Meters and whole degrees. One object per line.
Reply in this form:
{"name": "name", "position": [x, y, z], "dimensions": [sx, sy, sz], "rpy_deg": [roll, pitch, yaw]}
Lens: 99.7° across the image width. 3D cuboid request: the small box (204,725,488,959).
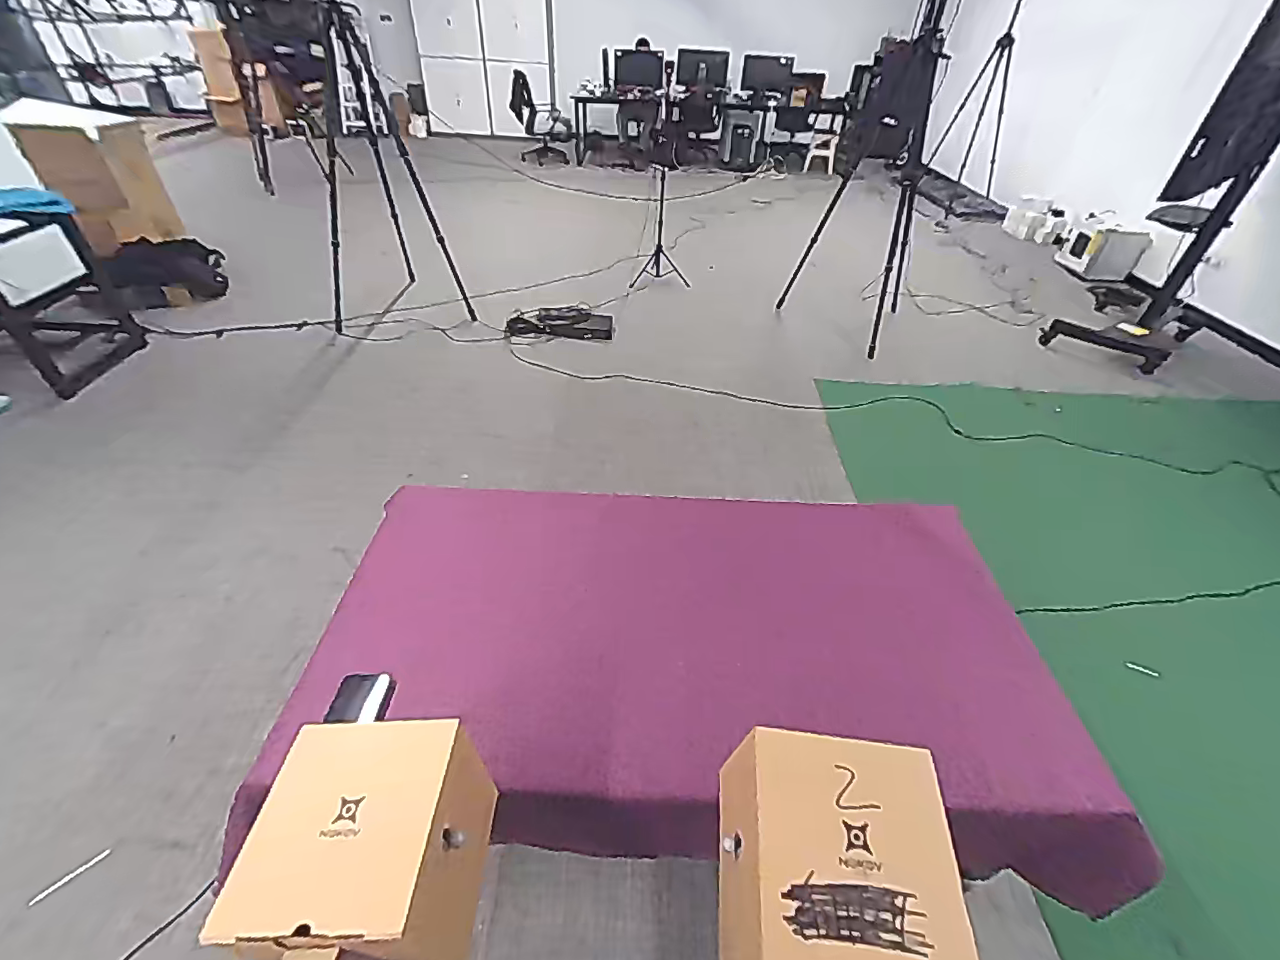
{"name": "small box", "position": [-0.261, 0.370, 0.538], "dimensions": [0.168, 0.176, 0.179], "rpy_deg": [-3, 39, 2]}
